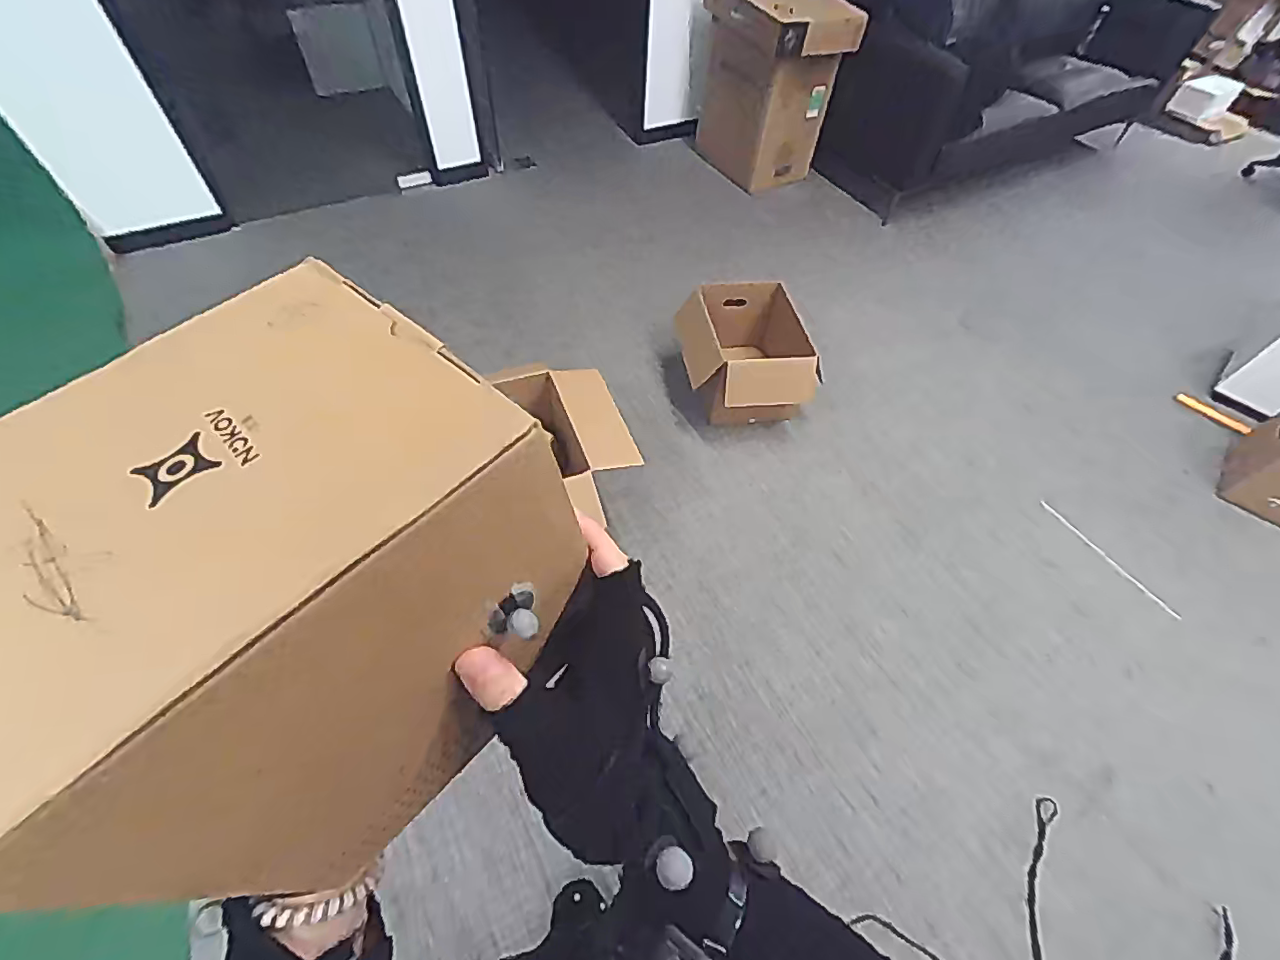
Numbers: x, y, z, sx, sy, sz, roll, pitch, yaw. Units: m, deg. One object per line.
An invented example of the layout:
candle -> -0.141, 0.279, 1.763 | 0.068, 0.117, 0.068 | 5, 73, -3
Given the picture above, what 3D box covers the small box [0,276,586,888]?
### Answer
small box -> -0.142, 0.044, 0.254 | 0.168, 0.176, 0.179 | 36, 66, 29
